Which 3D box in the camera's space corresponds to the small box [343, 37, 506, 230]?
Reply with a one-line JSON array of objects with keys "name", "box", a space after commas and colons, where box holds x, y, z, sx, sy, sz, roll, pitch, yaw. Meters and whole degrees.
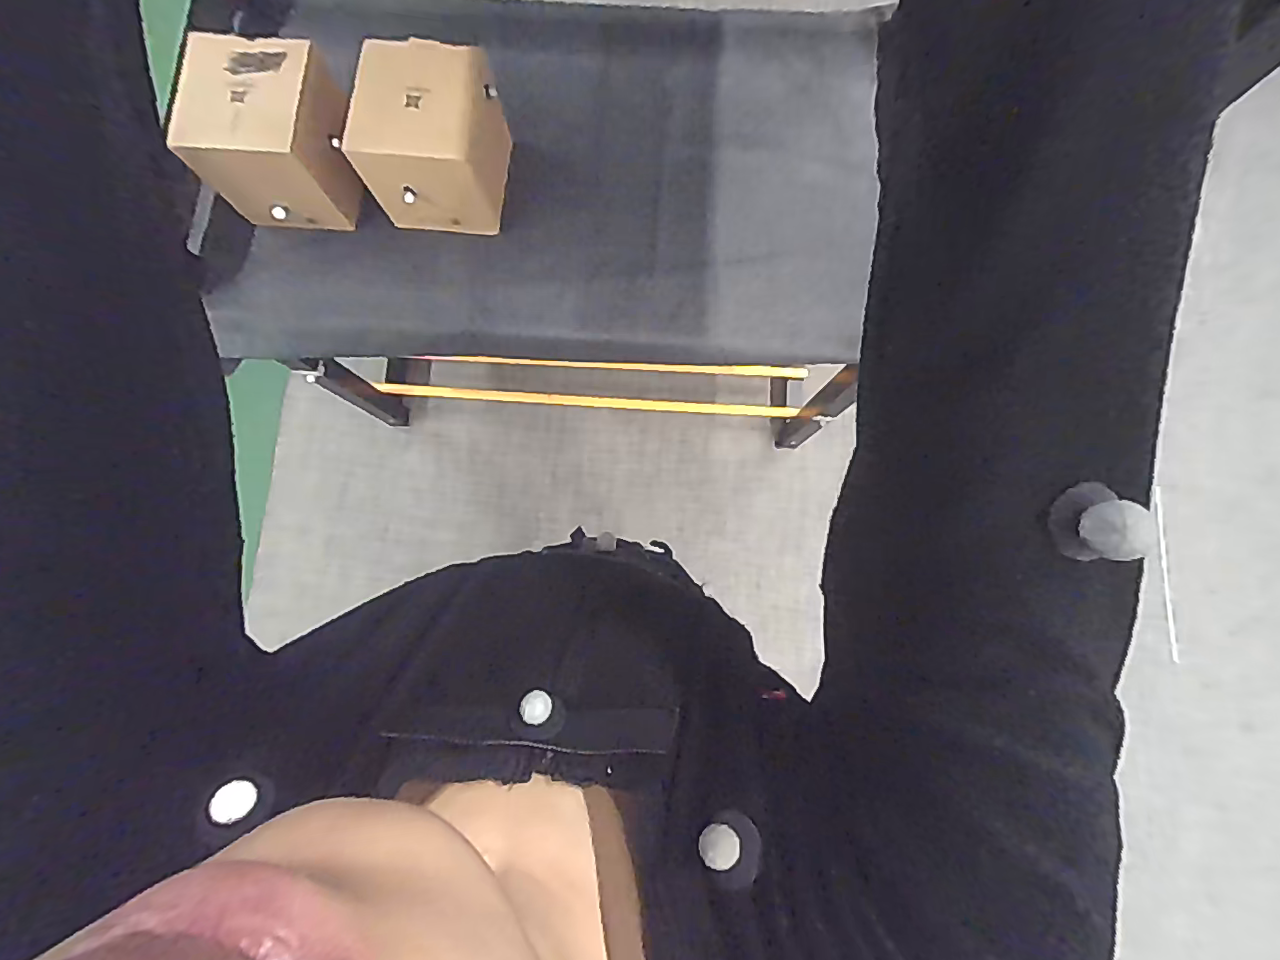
[{"name": "small box", "box": [-0.304, -0.499, 0.800, 0.168, 0.176, 0.179, 5, 80, 0]}]

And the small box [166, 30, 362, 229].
[{"name": "small box", "box": [-0.531, -0.505, 0.796, 0.168, 0.176, 0.179, 3, 81, 0]}]
